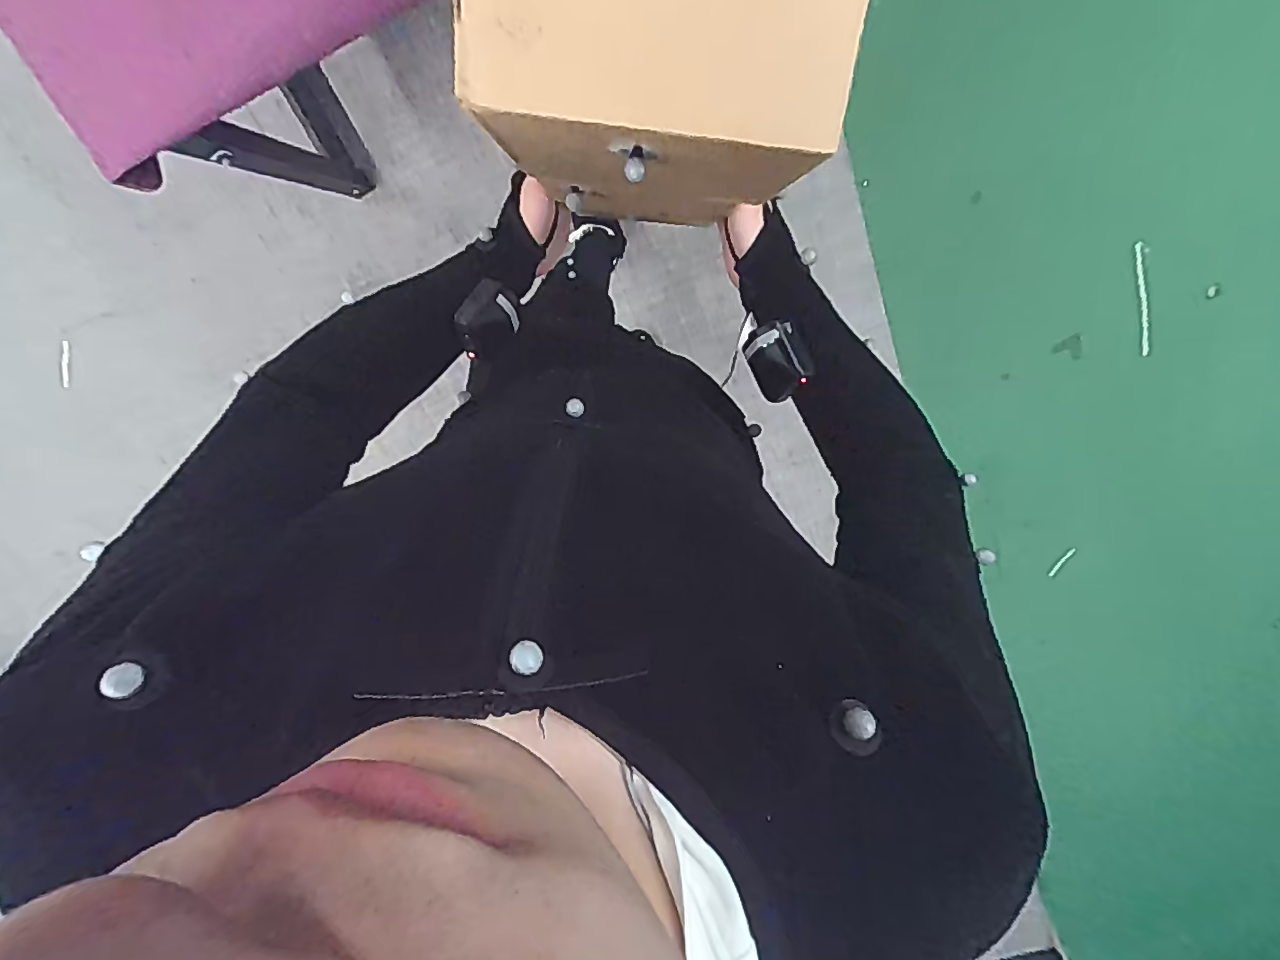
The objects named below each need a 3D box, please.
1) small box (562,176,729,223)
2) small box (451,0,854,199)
[{"bbox_3d":[0.016,-0.391,0.601,0.179,0.176,0.168,5,109,-1],"label":"small box"},{"bbox_3d":[0.012,-0.265,0.299,0.179,0.176,0.168,7,110,-2],"label":"small box"}]
